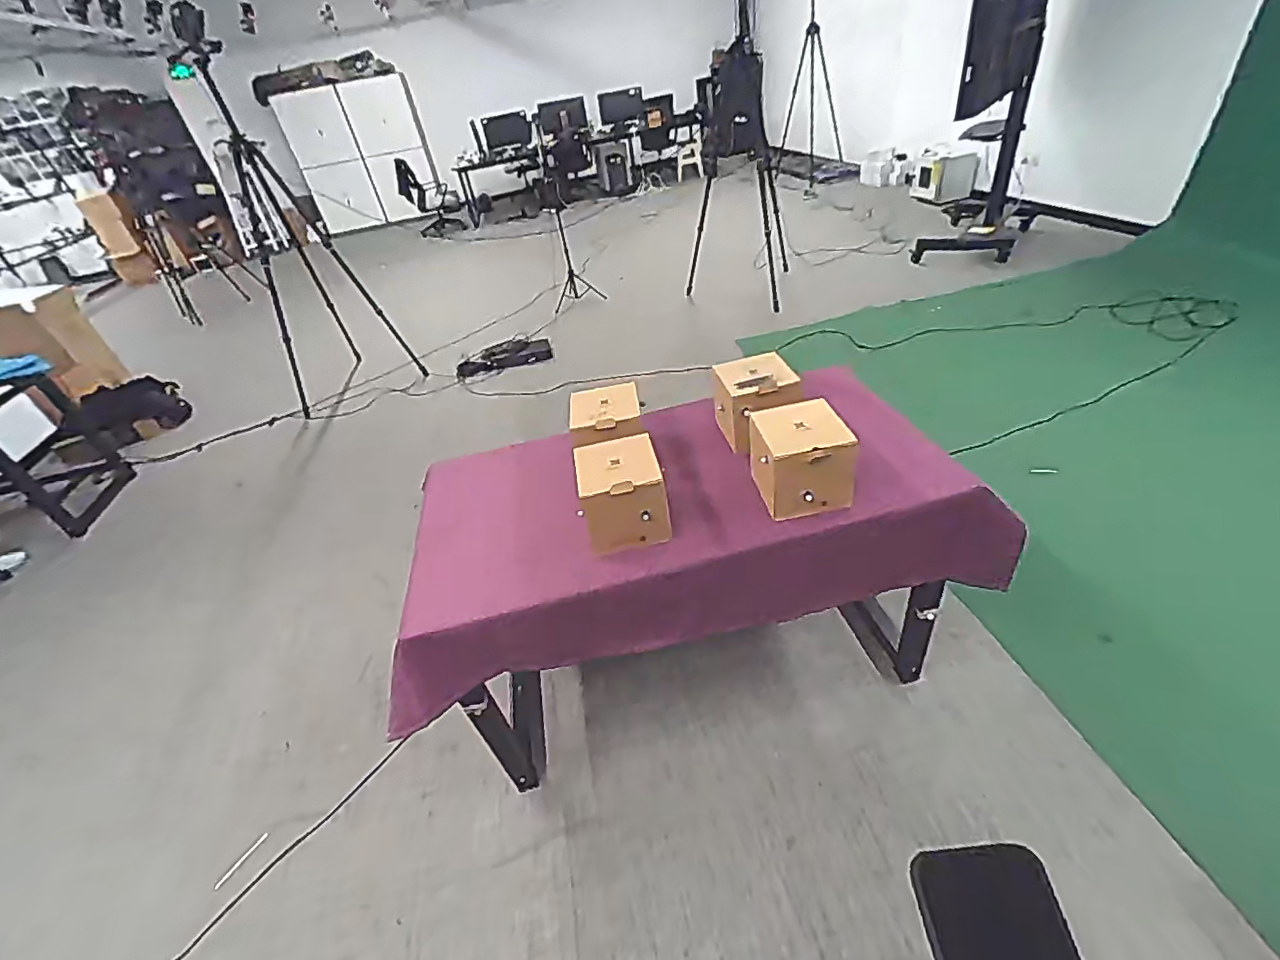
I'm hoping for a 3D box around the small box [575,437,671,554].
[{"bbox_3d":[-0.035,0.037,1.139,0.168,0.176,0.179,-12,36,-2],"label":"small box"}]

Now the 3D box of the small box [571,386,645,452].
[{"bbox_3d":[-0.071,-0.109,1.335,0.168,0.176,0.179,-10,38,2],"label":"small box"}]

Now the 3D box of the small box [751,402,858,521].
[{"bbox_3d":[0.337,-0.040,1.140,0.168,0.176,0.179,-12,37,0],"label":"small box"}]
